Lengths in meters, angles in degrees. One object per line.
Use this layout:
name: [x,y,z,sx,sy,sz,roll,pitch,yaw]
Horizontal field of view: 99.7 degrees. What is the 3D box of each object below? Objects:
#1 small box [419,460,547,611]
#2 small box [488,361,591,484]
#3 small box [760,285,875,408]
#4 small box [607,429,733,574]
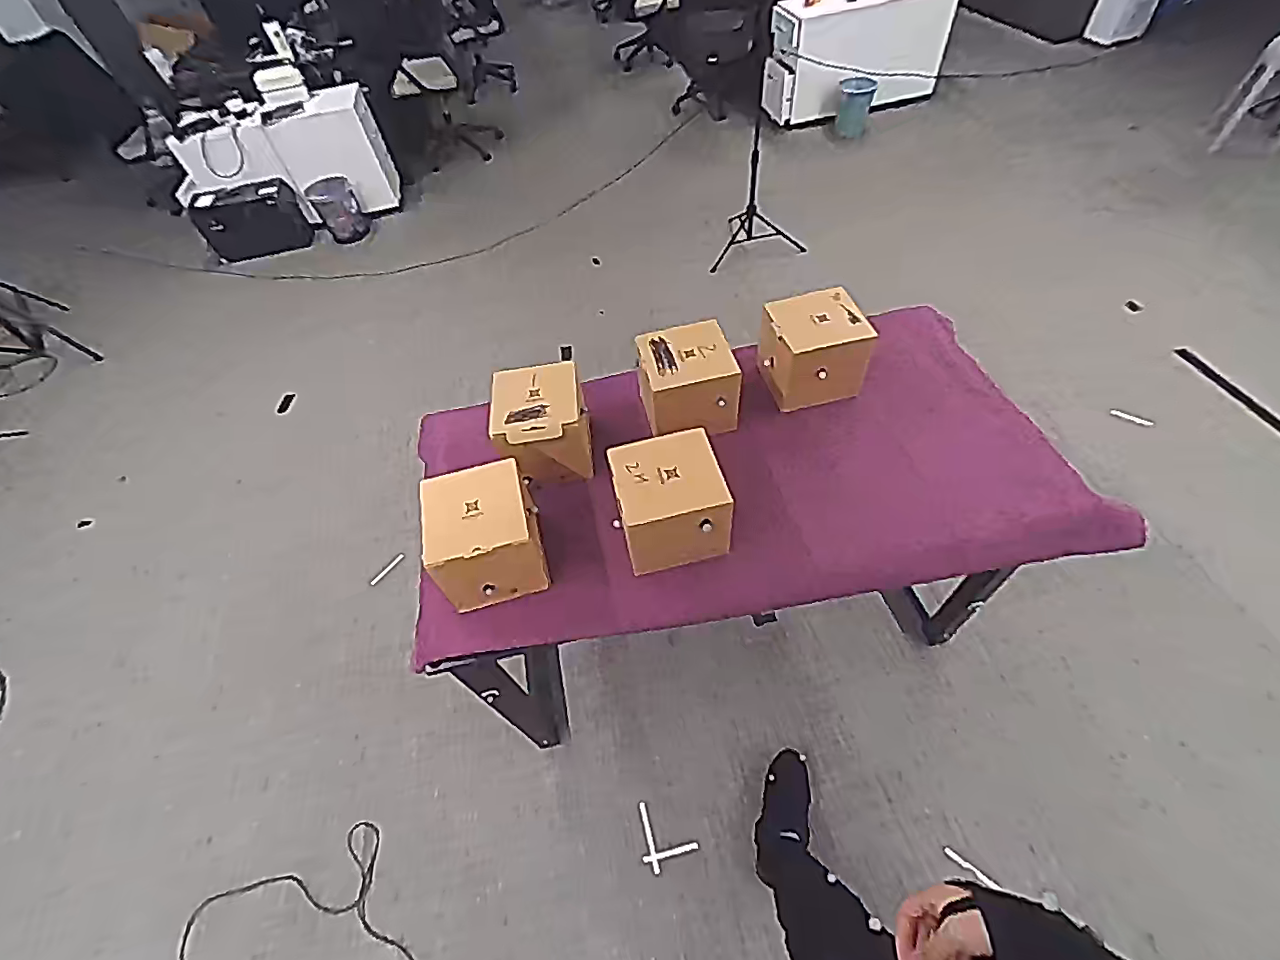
small box: [-0.267,0.098,0.933,0.168,0.176,0.179,-15,53,-7]
small box: [-0.194,-0.106,1.080,0.168,0.176,0.179,-8,53,0]
small box: [0.358,-0.273,1.134,0.179,0.176,0.168,-14,55,-2]
small box: [0.050,0.041,0.939,0.179,0.176,0.168,-14,53,-3]
